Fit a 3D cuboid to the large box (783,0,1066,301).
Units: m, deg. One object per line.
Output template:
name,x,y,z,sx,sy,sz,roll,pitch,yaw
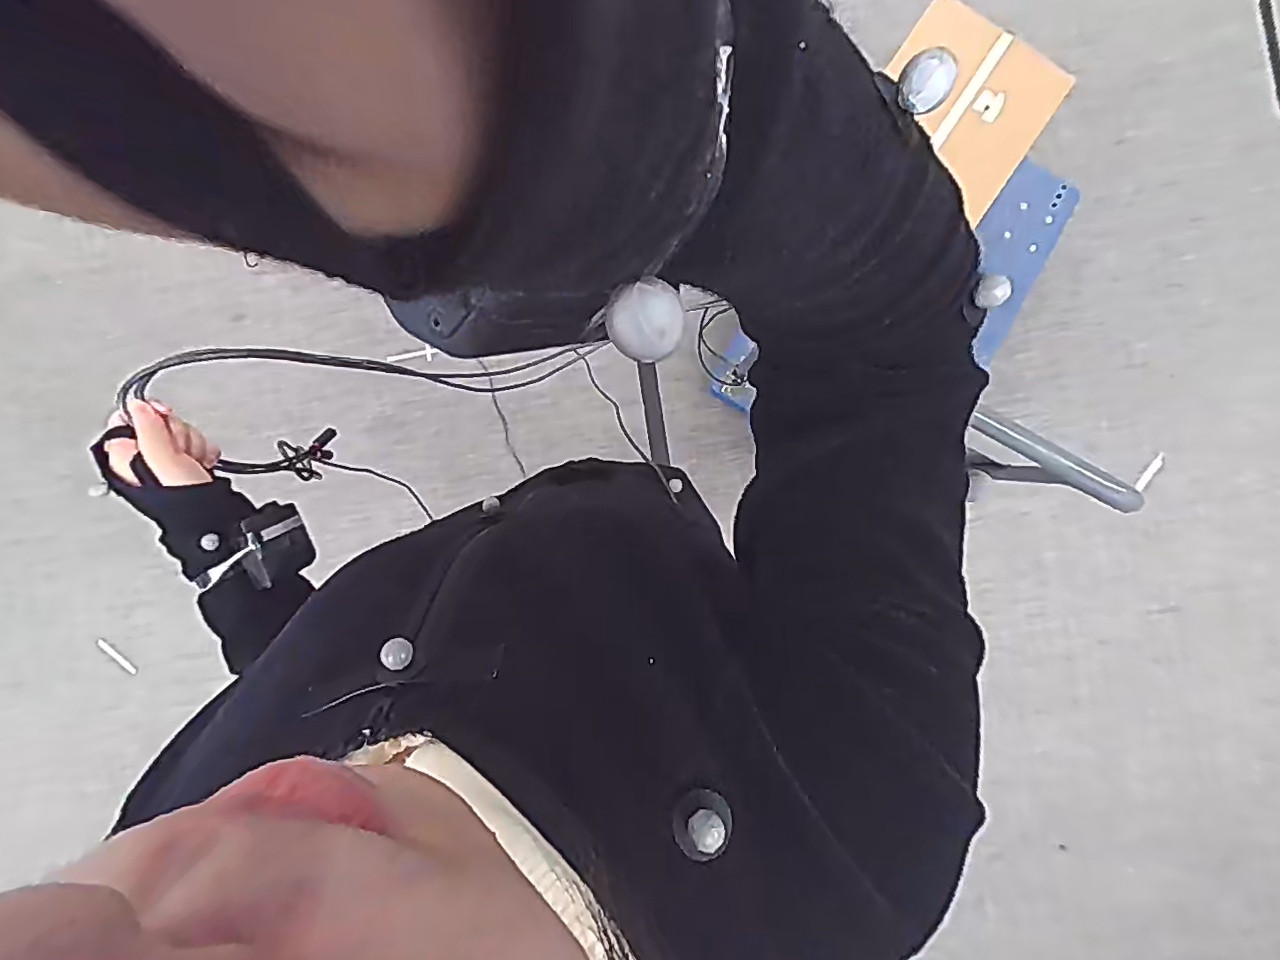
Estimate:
large box,0.574,-0.677,1.169,0.320,0.320,0.408,34,90,-1
